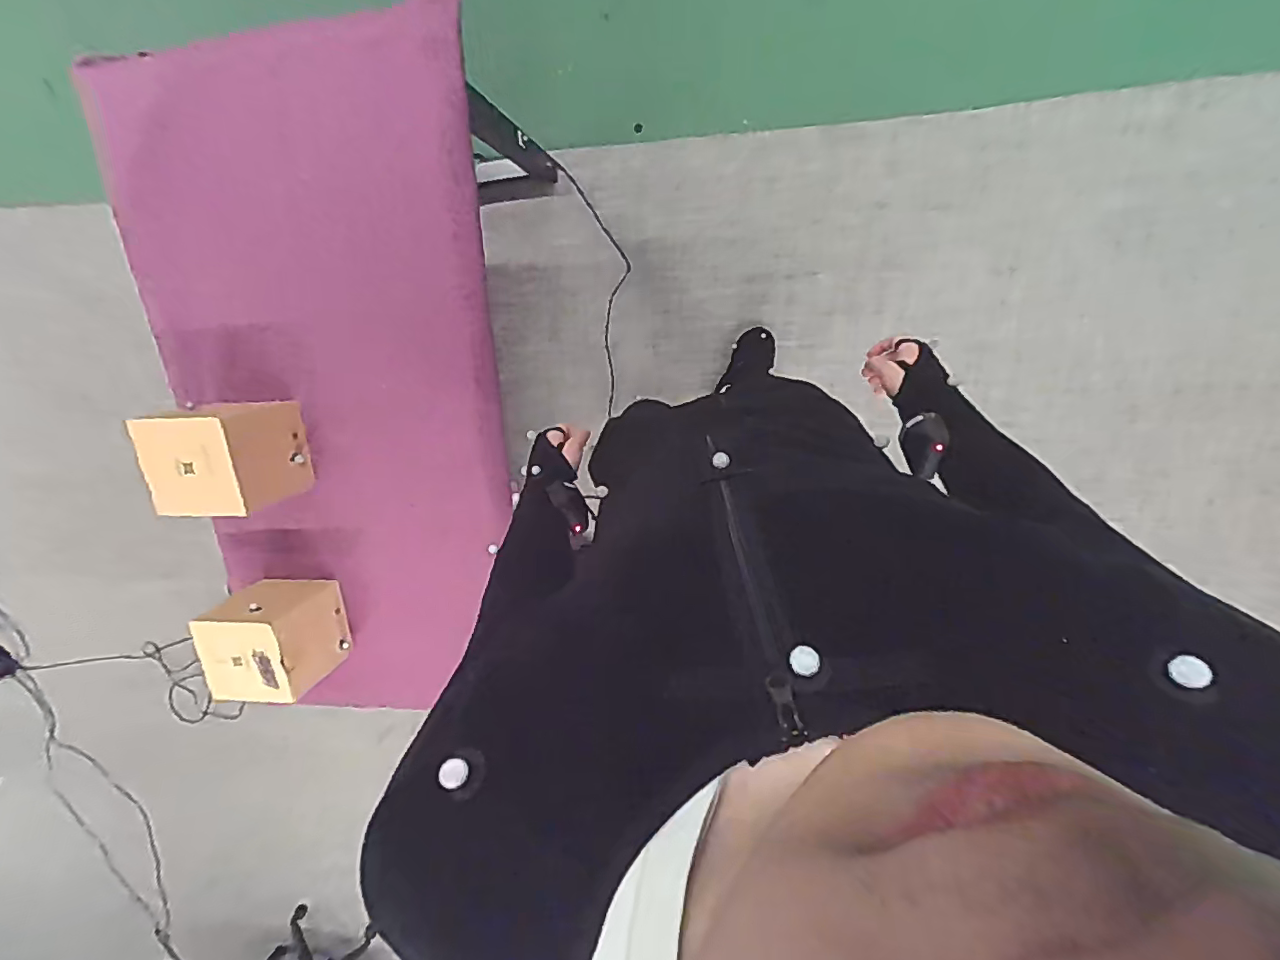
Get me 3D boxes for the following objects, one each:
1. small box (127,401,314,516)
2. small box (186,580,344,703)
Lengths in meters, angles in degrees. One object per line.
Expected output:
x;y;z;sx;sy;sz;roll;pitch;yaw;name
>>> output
-0.715;-0.044;0.941;0.179;0.176;0.168;0;107;9;small box
-0.700;0.301;1.037;0.179;0.176;0.168;-1;105;10;small box
